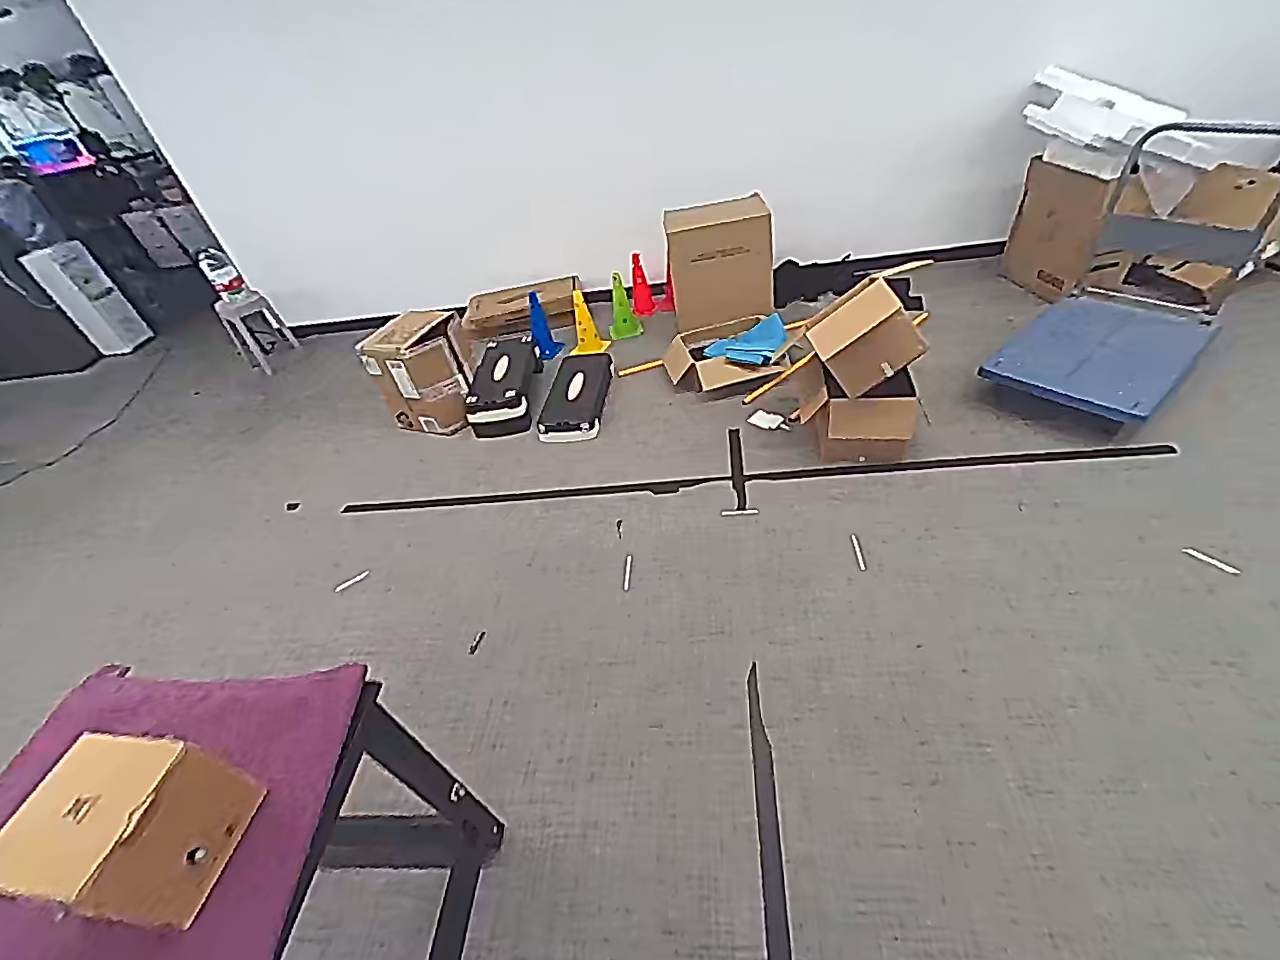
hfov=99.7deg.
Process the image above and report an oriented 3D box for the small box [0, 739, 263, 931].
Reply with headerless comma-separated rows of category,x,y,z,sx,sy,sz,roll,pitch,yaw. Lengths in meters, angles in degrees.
small box,-0.651,0.455,0.696,0.179,0.176,0.168,-2,42,12
